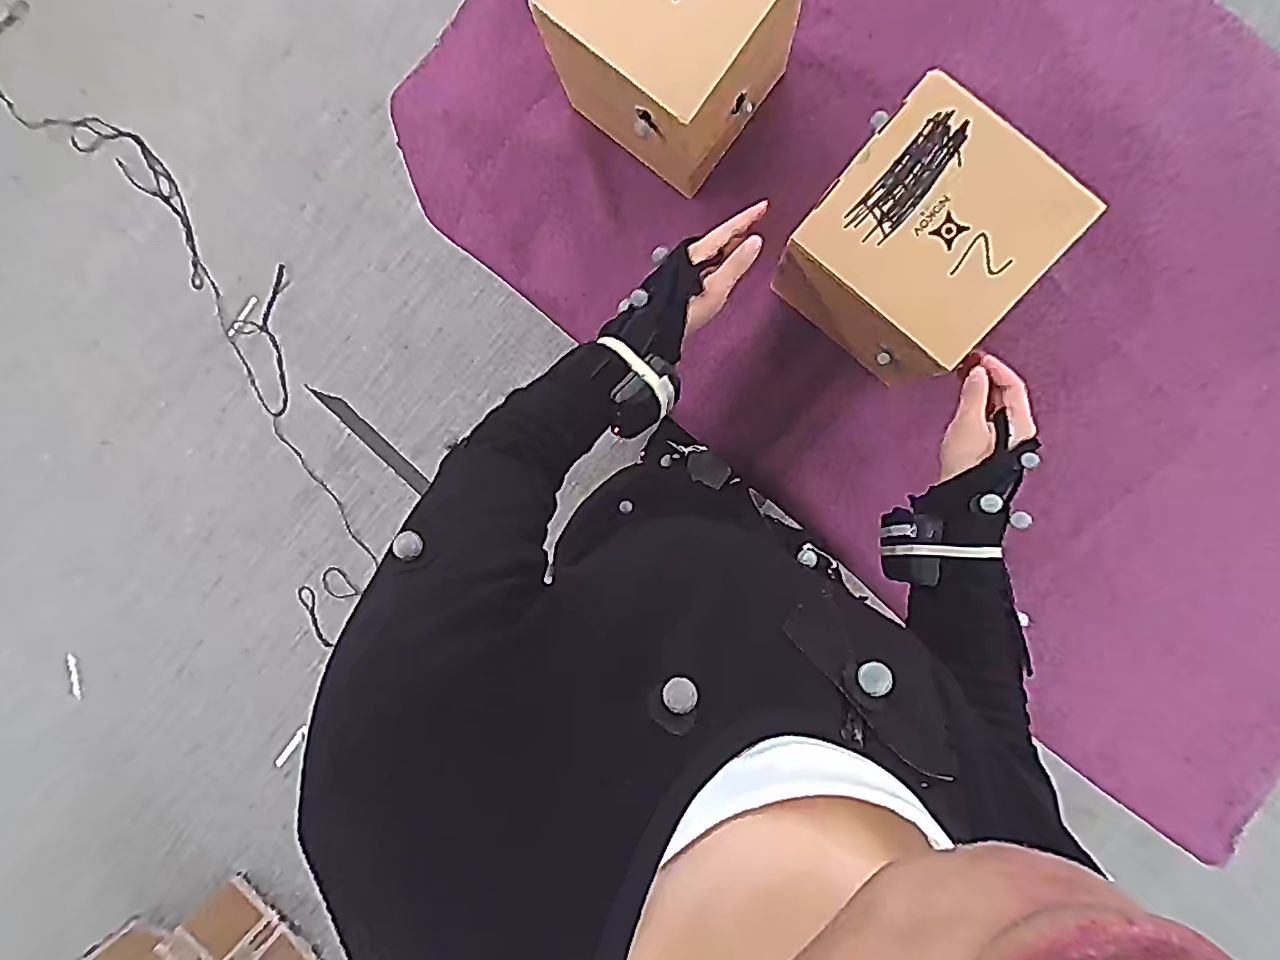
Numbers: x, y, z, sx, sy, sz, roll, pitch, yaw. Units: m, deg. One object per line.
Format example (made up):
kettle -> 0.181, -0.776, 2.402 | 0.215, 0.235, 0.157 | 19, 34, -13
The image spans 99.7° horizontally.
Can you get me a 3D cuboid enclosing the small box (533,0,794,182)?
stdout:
small box -> 0.033, -0.426, 0.522 | 0.179, 0.176, 0.168 | 39, 100, 1
